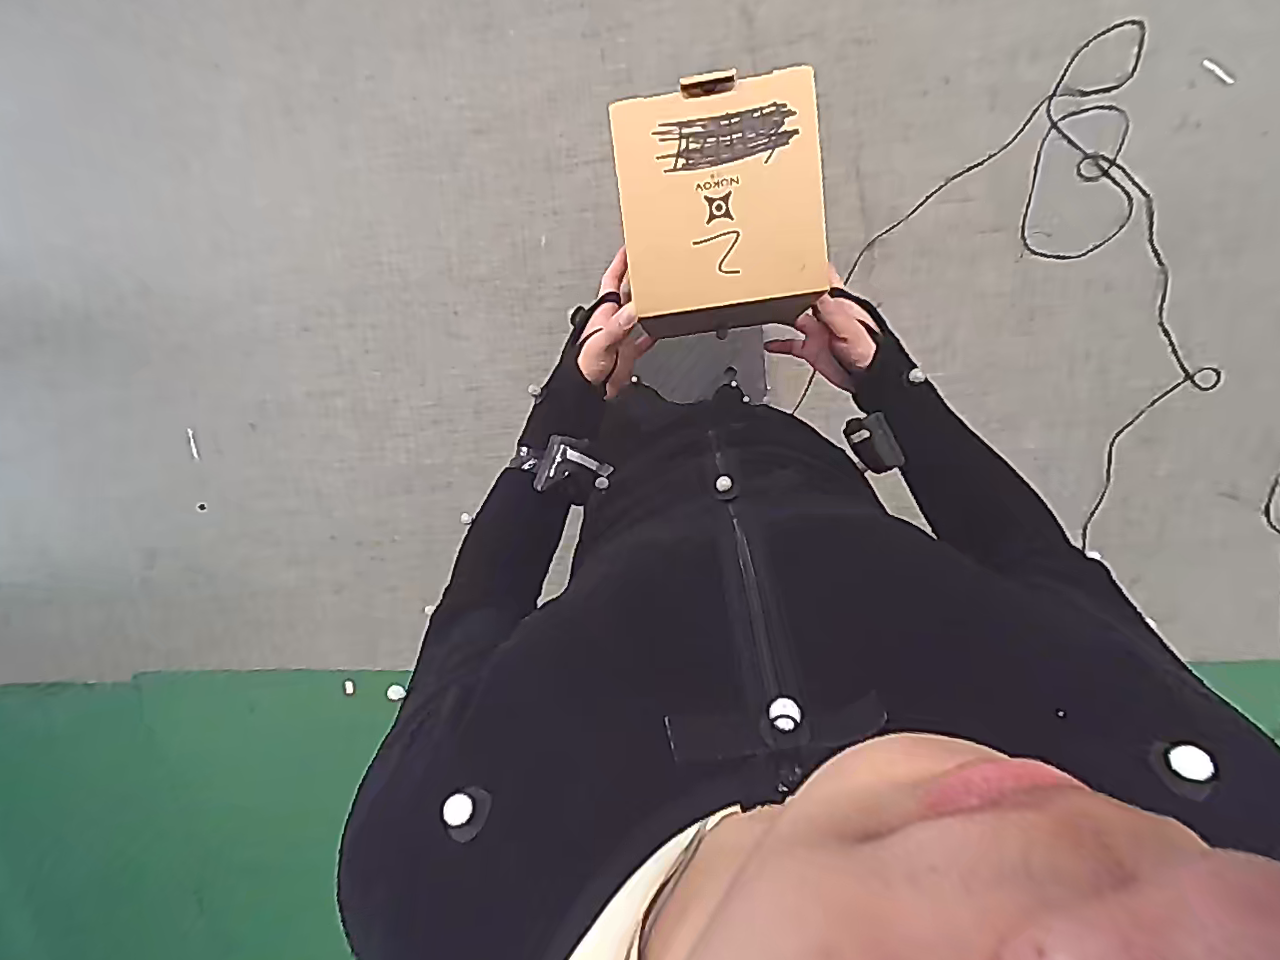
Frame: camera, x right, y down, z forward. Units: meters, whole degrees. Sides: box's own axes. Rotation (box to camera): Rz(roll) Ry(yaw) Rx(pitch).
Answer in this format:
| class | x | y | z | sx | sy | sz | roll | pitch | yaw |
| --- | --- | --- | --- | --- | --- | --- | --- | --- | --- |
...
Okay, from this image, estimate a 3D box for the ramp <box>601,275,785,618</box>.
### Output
| class | x | y | z | sx | sy | sz | roll | pitch | yaw |
| --- | --- | --- | --- | --- | --- | --- | --- | --- | --- |
| ramp | 0.151 | -0.090 | 1.621 | 0.509 | 0.206 | 0.991 | -5 | 100 | 8 |
